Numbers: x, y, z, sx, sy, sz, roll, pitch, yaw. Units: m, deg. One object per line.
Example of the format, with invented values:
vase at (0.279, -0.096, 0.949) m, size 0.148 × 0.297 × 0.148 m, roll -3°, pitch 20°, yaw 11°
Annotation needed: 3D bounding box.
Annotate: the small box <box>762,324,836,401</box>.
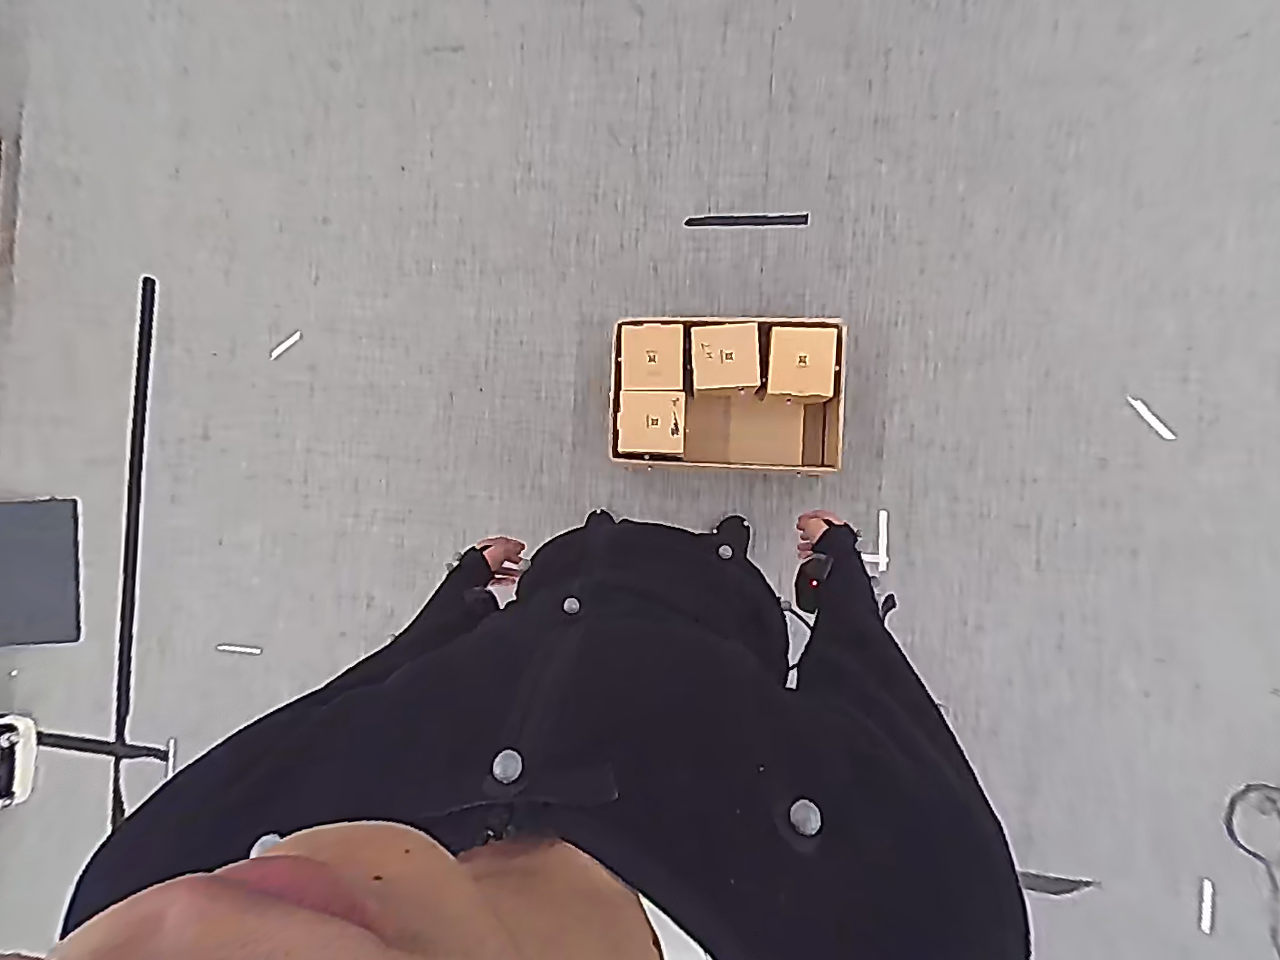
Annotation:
small box at (0.426, -0.314, 1.469) m, size 0.168 × 0.176 × 0.179 m, roll 3°, pitch 93°, yaw 8°
